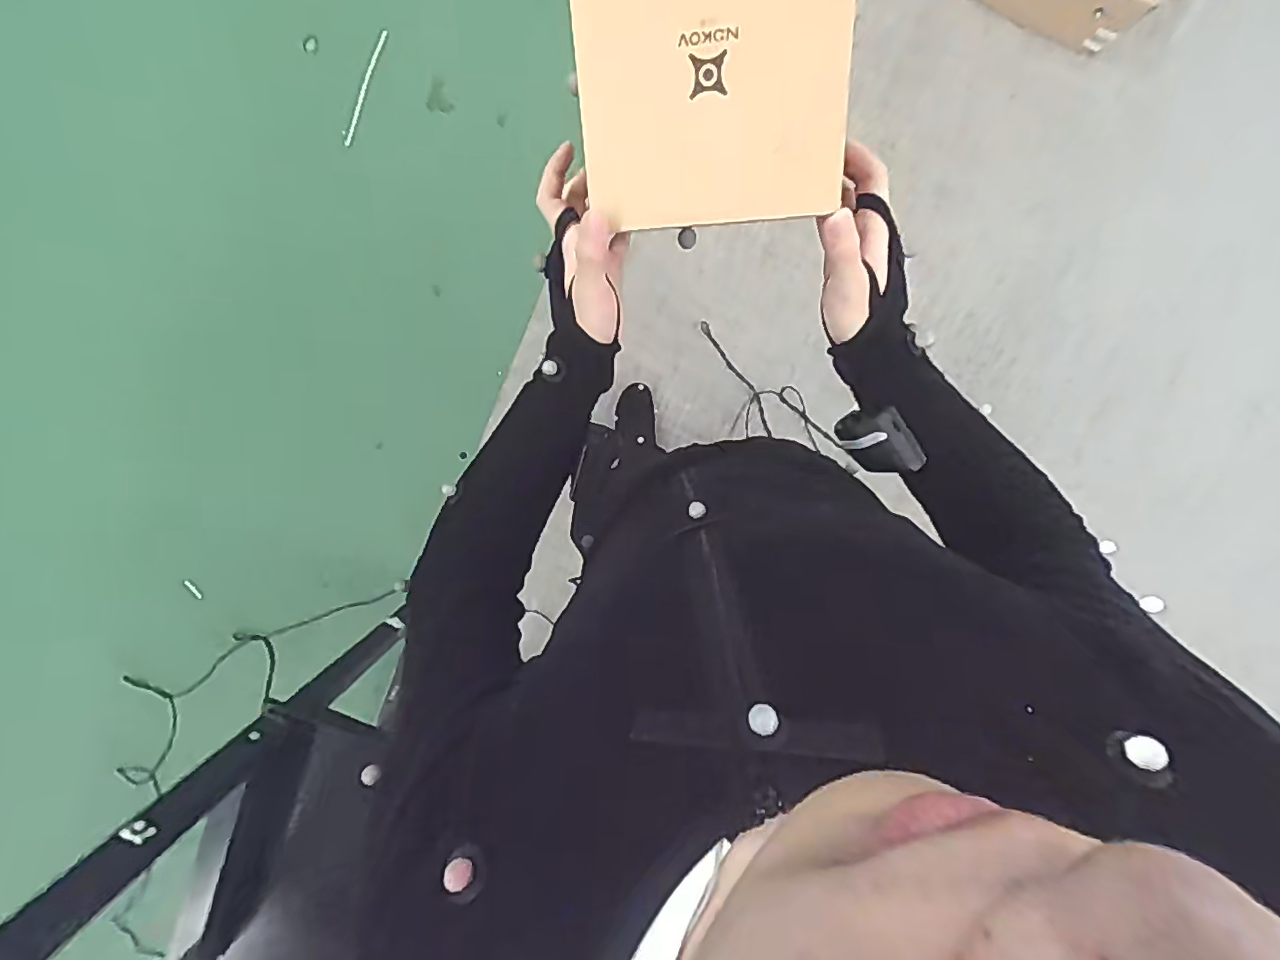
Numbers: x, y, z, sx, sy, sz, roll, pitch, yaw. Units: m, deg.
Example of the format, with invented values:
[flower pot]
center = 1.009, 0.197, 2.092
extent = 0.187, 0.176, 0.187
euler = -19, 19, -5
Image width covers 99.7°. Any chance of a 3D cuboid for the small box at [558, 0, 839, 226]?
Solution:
[small box]
center = 0.047, -0.286, 0.394
extent = 0.168, 0.176, 0.179
euler = 1, 113, 11
